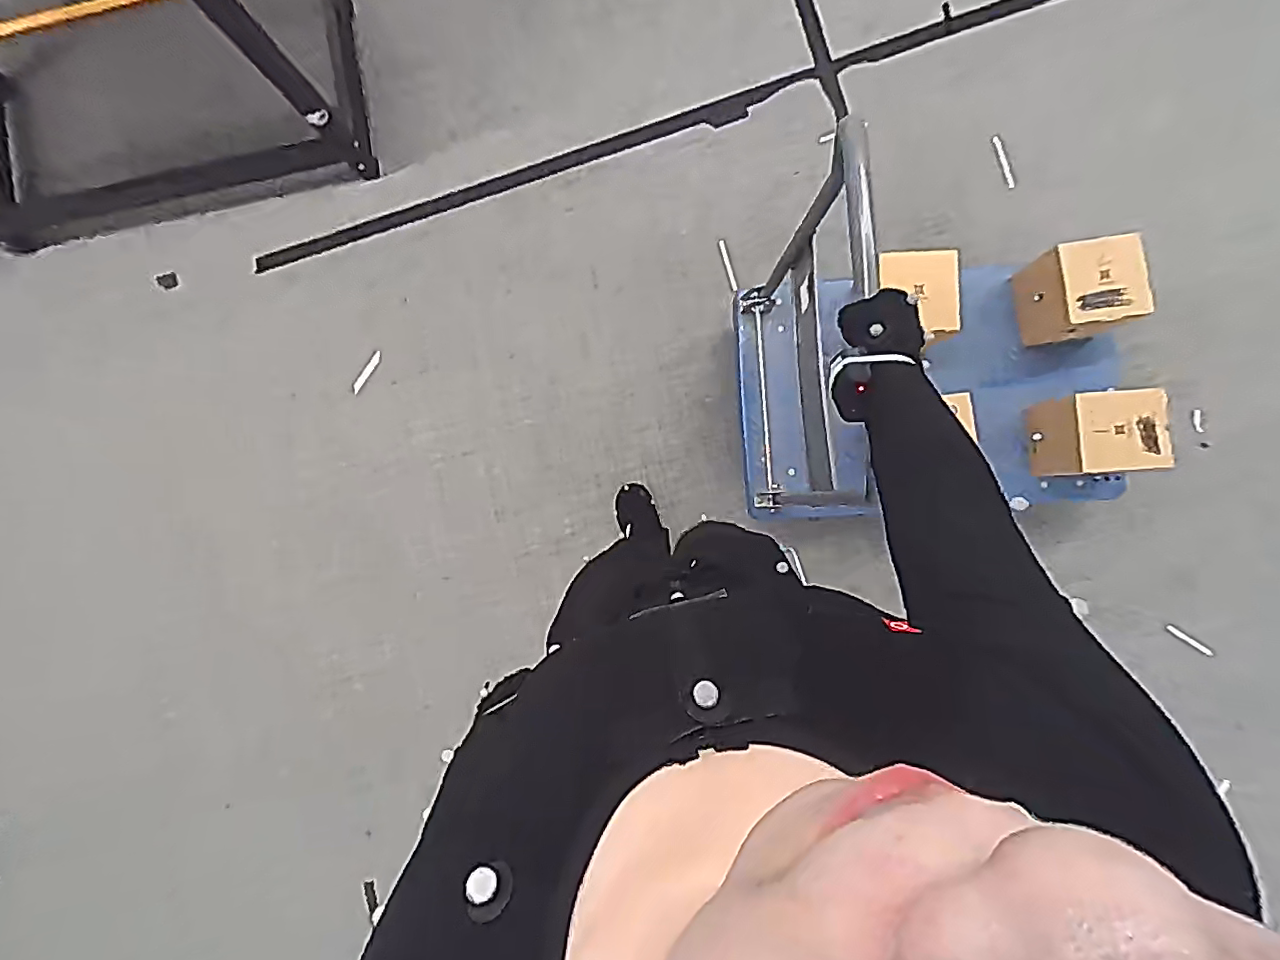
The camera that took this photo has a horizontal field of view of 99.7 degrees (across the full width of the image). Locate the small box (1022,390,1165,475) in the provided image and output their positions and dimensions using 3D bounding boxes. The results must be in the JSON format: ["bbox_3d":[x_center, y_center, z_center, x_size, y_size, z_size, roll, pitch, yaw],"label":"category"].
[{"bbox_3d":[0.986,-0.098,1.188,0.179,0.176,0.168,-3,87,4],"label":"small box"}]

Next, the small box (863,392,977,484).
[{"bbox_3d":[0.614,-0.087,1.209,0.168,0.176,0.179,-6,87,3],"label":"small box"}]

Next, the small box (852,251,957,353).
[{"bbox_3d":[0.591,-0.396,1.226,0.168,0.176,0.179,-1,89,3],"label":"small box"}]
